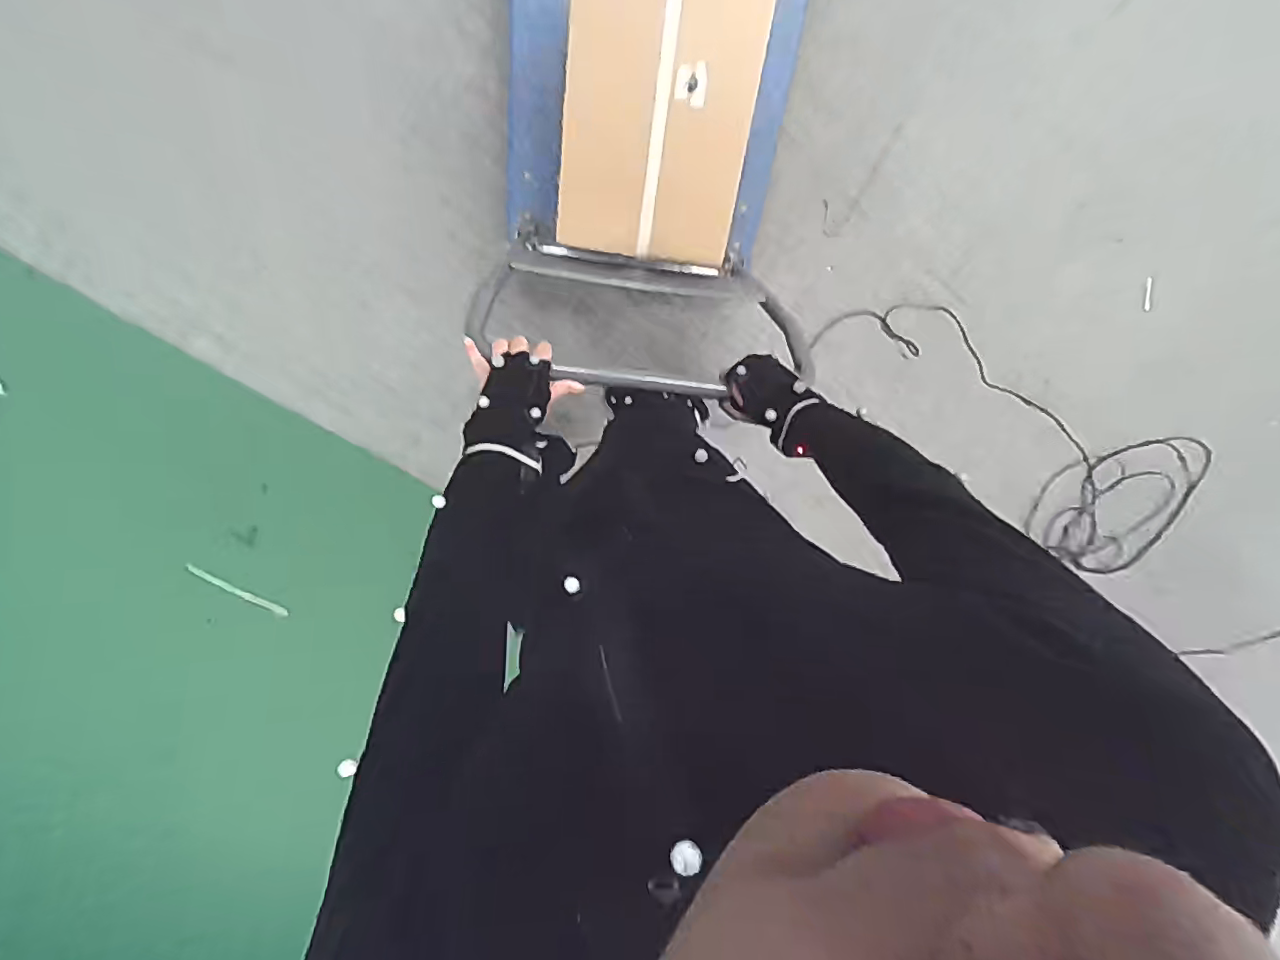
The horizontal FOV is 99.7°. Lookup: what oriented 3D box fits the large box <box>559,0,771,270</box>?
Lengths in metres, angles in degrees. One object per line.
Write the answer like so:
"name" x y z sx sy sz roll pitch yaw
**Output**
"large box" 0.025 -0.648 1.041 0.320 0.320 0.408 6 117 -6
